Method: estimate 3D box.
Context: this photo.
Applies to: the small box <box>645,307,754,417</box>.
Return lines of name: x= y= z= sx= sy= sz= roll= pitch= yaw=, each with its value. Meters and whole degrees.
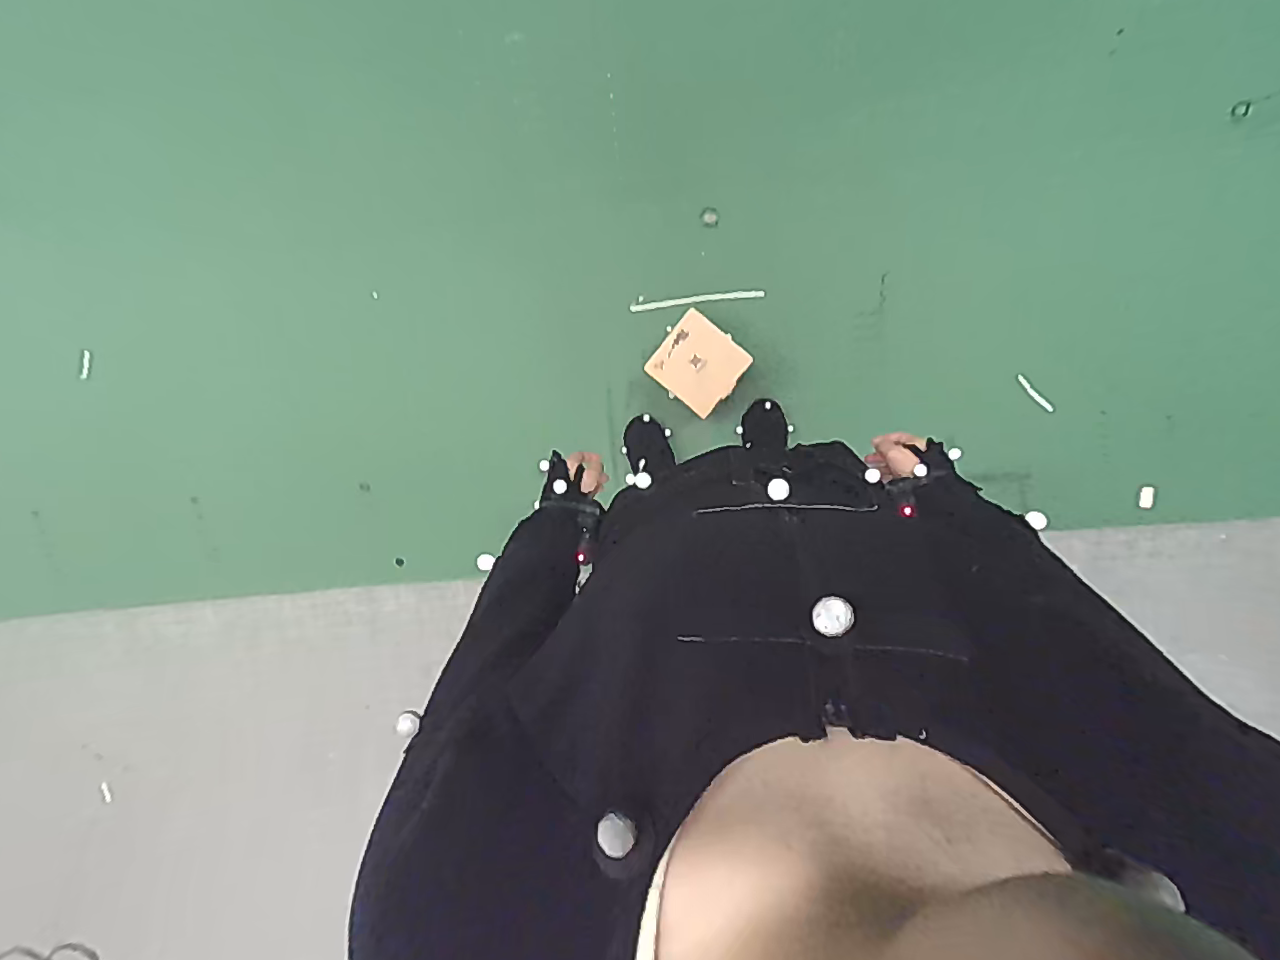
small box: x=0.132 y=-0.265 z=1.222 sx=0.179 sy=0.176 sz=0.168 roll=39 pitch=101 yaw=-4
